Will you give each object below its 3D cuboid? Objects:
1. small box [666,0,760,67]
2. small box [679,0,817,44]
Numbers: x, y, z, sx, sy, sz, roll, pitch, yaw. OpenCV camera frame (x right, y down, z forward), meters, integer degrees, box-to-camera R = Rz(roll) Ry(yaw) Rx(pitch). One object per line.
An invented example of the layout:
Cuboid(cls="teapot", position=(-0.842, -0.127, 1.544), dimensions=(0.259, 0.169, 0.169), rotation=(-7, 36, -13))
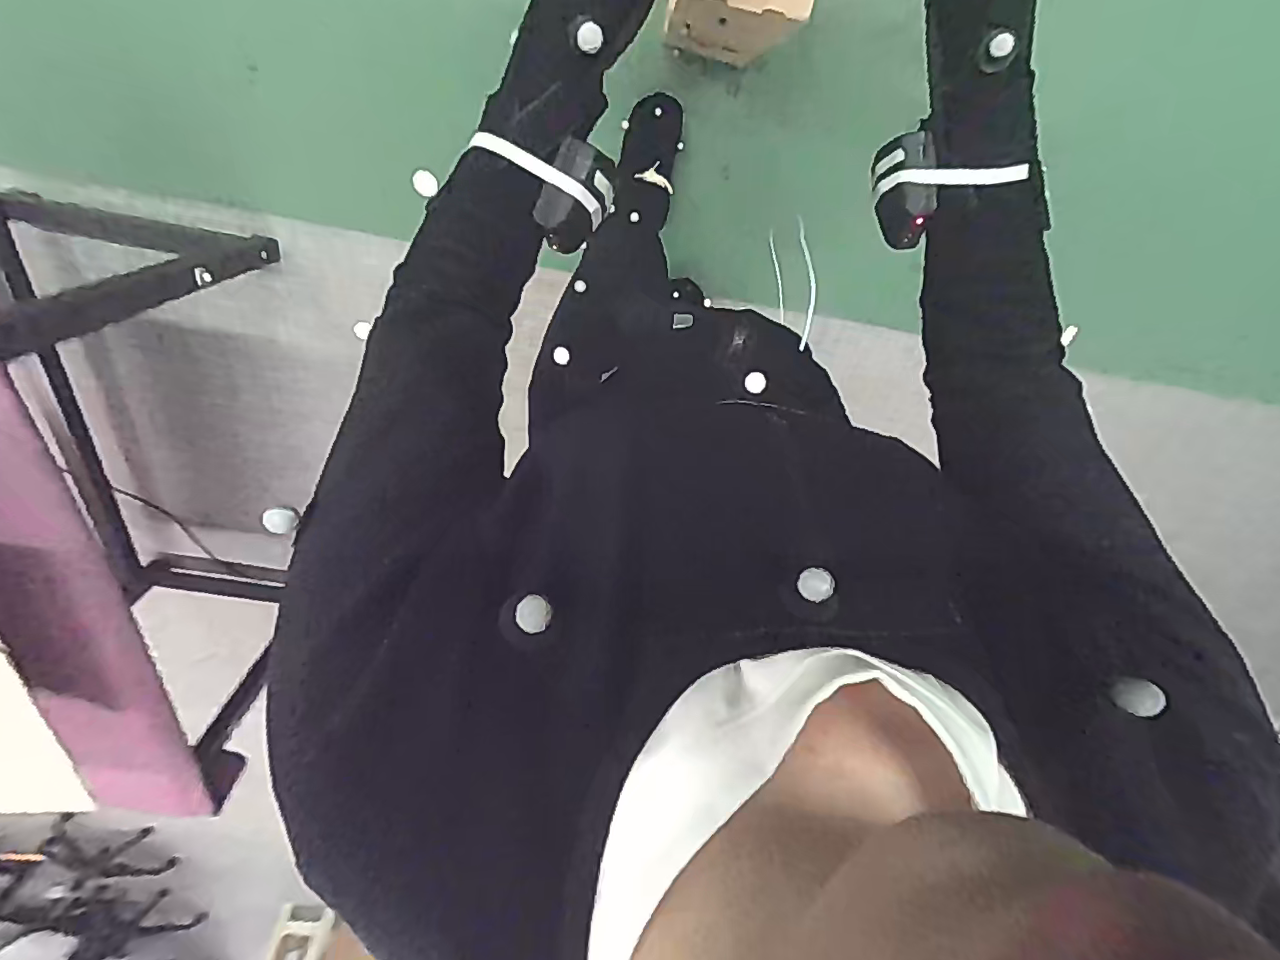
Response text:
Cuboid(cls="small box", position=(0.146, -0.867, 0.964), dimensions=(0.168, 0.176, 0.179), rotation=(11, 122, -6))
Cuboid(cls="small box", position=(0.147, -0.691, 0.687), dimensions=(0.168, 0.176, 0.179), rotation=(8, 122, -5))
